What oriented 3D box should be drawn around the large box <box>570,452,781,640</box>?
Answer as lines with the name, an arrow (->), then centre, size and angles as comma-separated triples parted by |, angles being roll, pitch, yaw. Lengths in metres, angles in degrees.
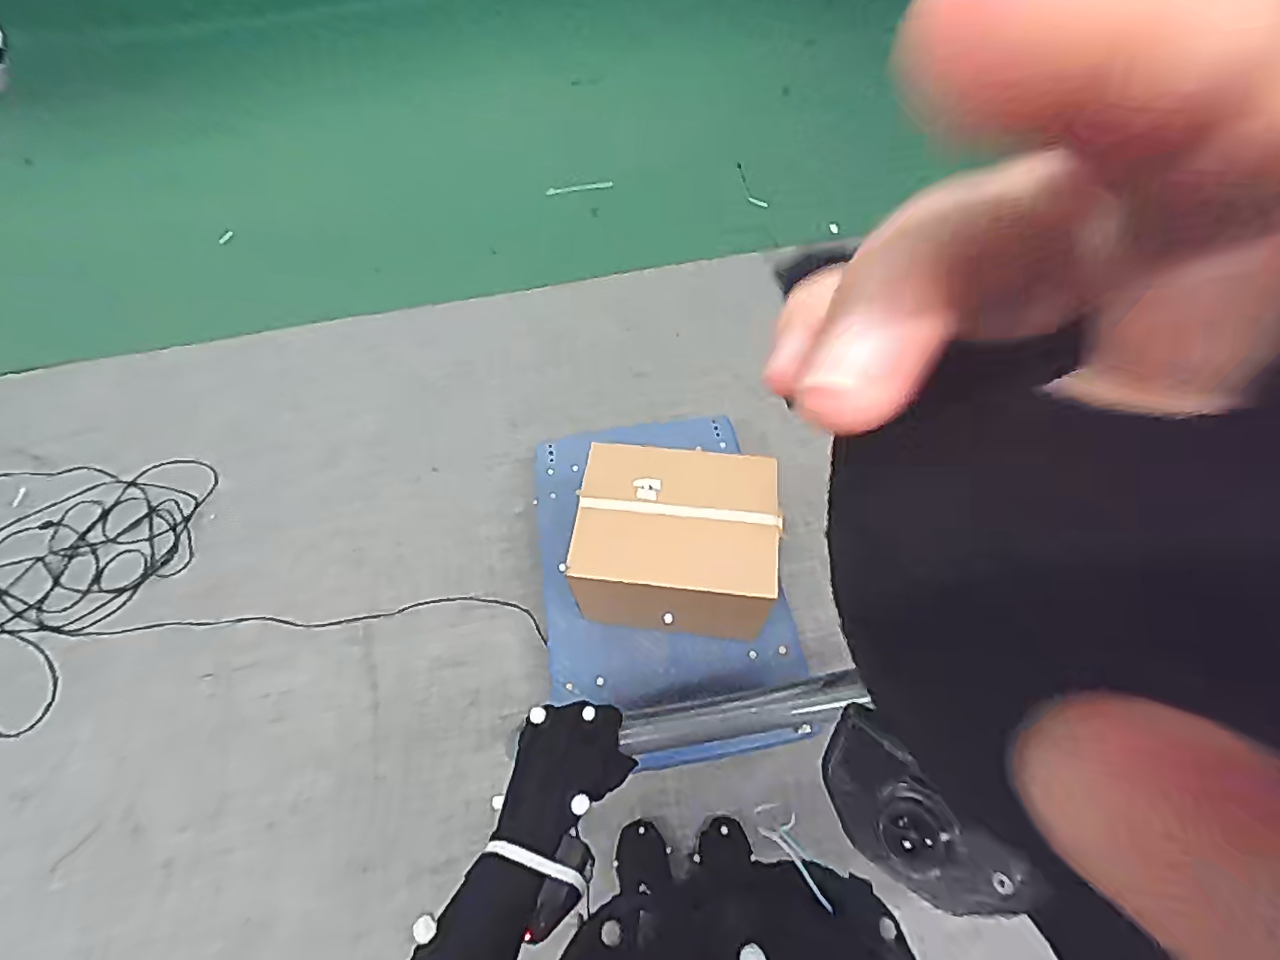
large box -> 0.089, 0.156, 1.212 | 0.408, 0.320, 0.320 | 4, 59, 7
